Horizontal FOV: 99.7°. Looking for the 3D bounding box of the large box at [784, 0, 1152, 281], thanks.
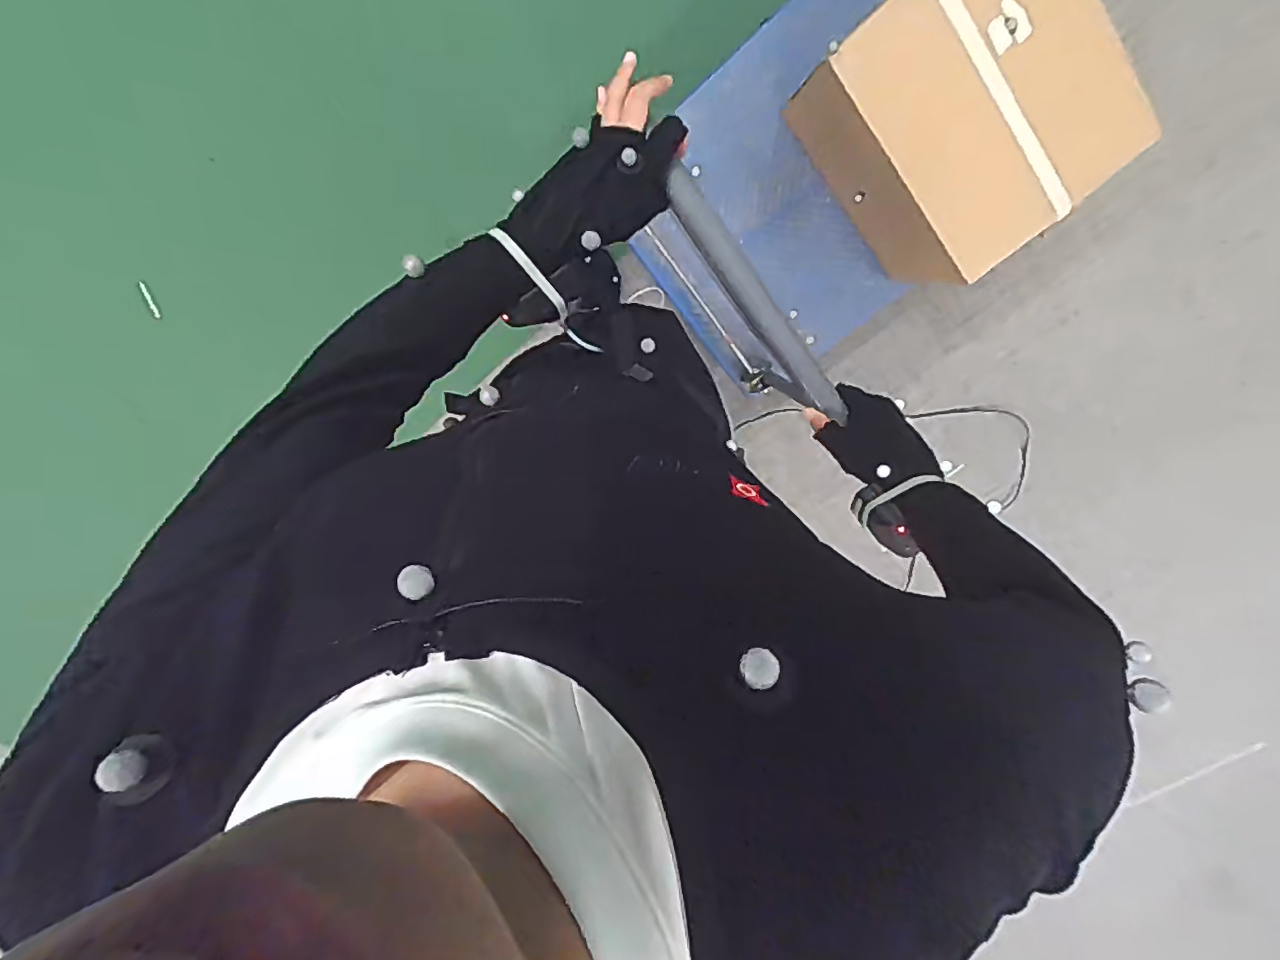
[{"bbox_3d":[0.506,-0.599,0.910,0.320,0.320,0.408,-38,105,15],"label":"large box"}]
